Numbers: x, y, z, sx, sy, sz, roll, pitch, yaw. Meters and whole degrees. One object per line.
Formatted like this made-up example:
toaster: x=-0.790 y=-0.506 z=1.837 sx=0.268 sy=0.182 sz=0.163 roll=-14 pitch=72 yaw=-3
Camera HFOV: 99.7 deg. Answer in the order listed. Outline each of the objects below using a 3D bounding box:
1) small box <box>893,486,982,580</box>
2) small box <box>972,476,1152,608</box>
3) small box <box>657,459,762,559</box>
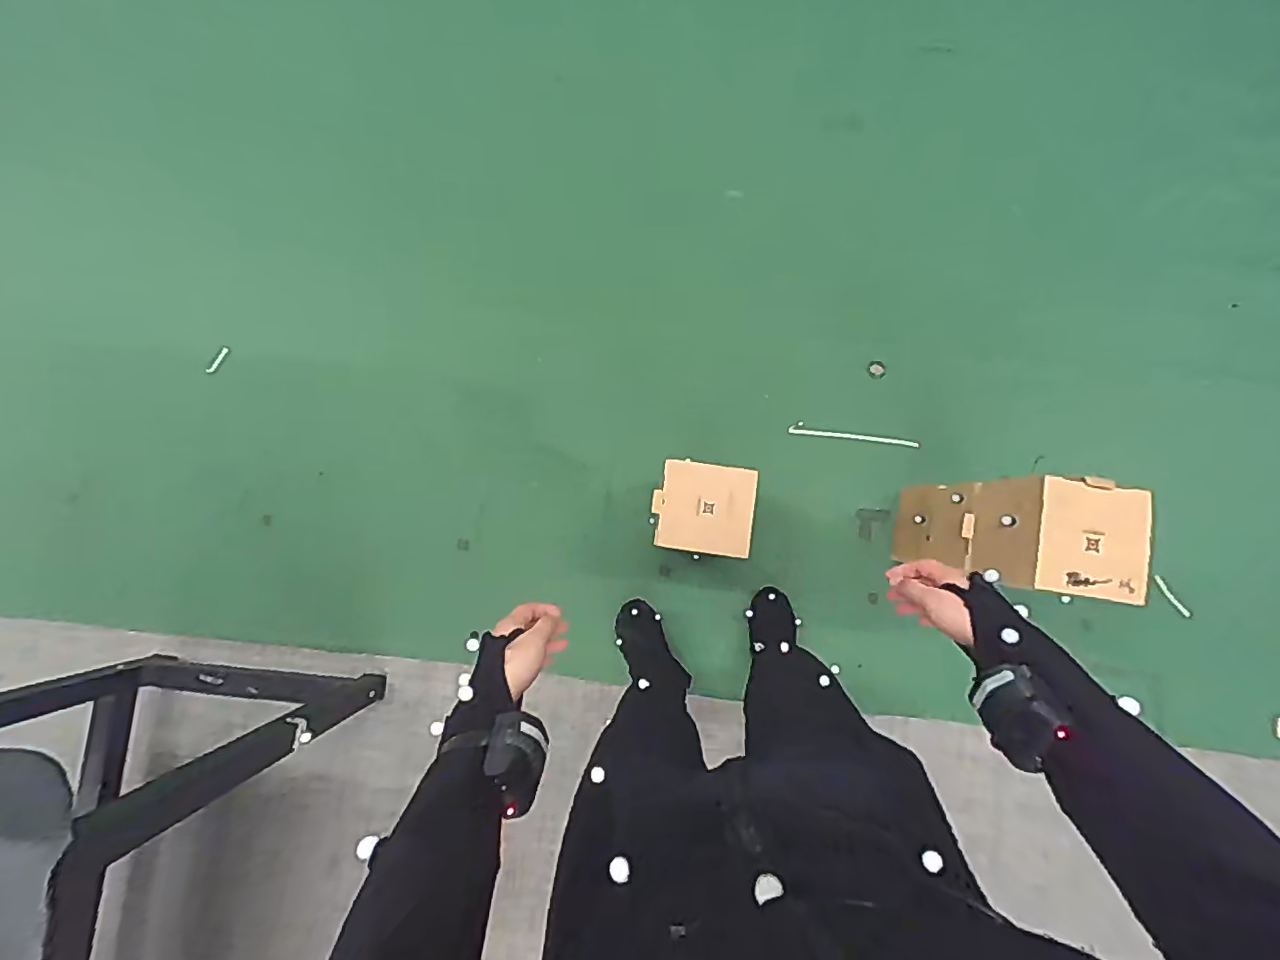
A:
small box: x=0.697 y=0.121 z=1.222 sx=0.168 sy=0.176 sz=0.179 roll=14 pitch=85 yaw=2
small box: x=0.684 y=0.100 z=0.894 sx=0.168 sy=0.176 sz=0.179 roll=10 pitch=84 yaw=0
small box: x=0.130 y=0.060 z=1.072 sx=0.179 sy=0.176 sz=0.168 roll=8 pitch=86 yaw=2
